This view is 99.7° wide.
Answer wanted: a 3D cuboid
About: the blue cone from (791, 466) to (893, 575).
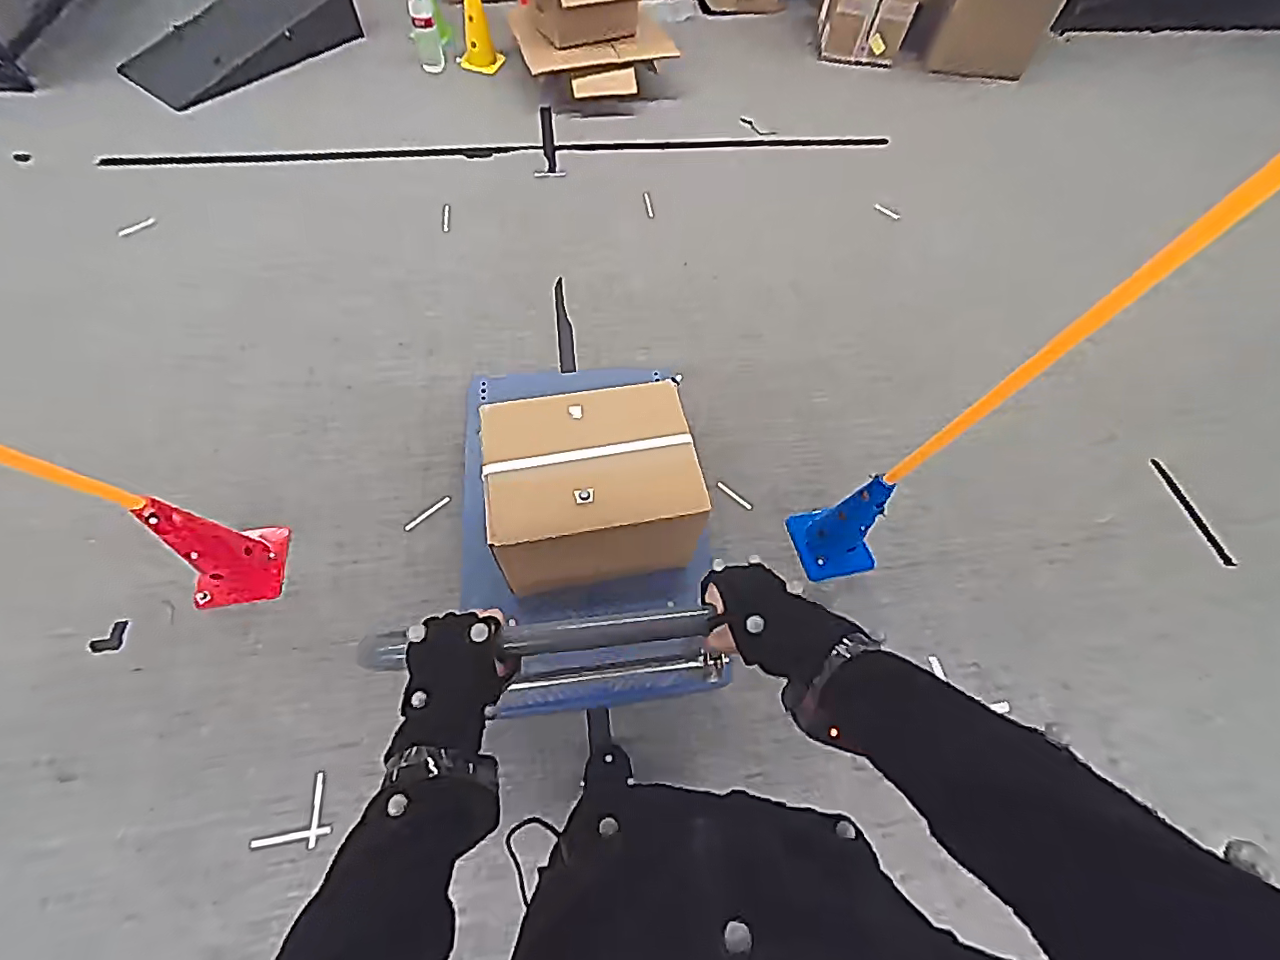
[{"bbox_3d":[0.544,0.085,1.367,0.193,0.380,0.192,-9,61,-9],"label":"blue cone"}]
